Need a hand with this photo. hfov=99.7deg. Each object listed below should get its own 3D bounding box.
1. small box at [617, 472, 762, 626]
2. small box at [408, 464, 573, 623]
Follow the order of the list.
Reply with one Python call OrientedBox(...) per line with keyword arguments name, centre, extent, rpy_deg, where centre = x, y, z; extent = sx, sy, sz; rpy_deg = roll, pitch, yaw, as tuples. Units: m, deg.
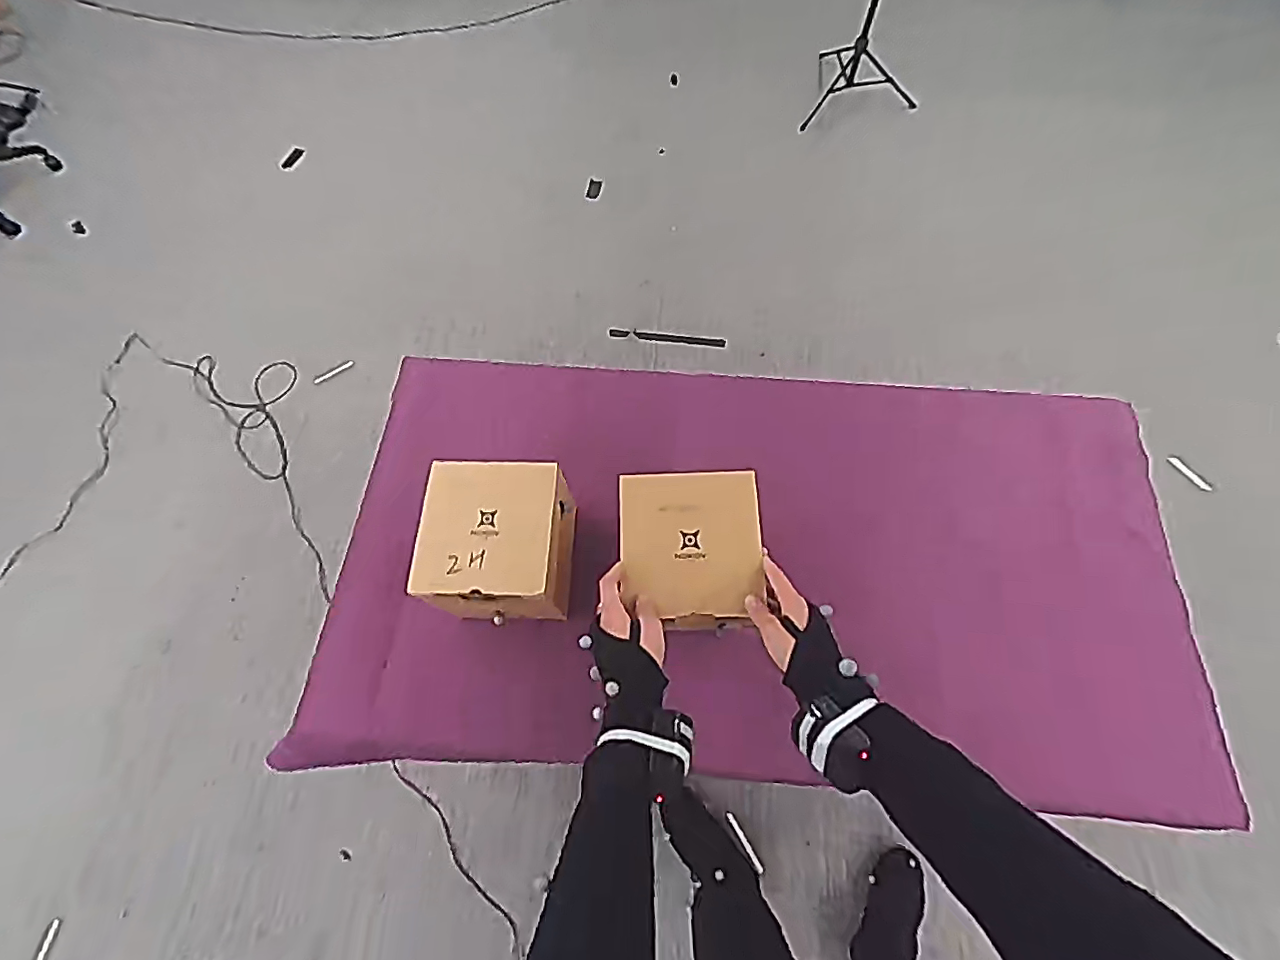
OrientedBox(name="small box", centre=(0.059, 0.098, 0.703), extent=(0.168, 0.176, 0.179), rpy_deg=(-1, 71, 1))
OrientedBox(name="small box", centre=(-0.188, 0.091, 0.739), extent=(0.168, 0.176, 0.179), rpy_deg=(0, 67, 3))
